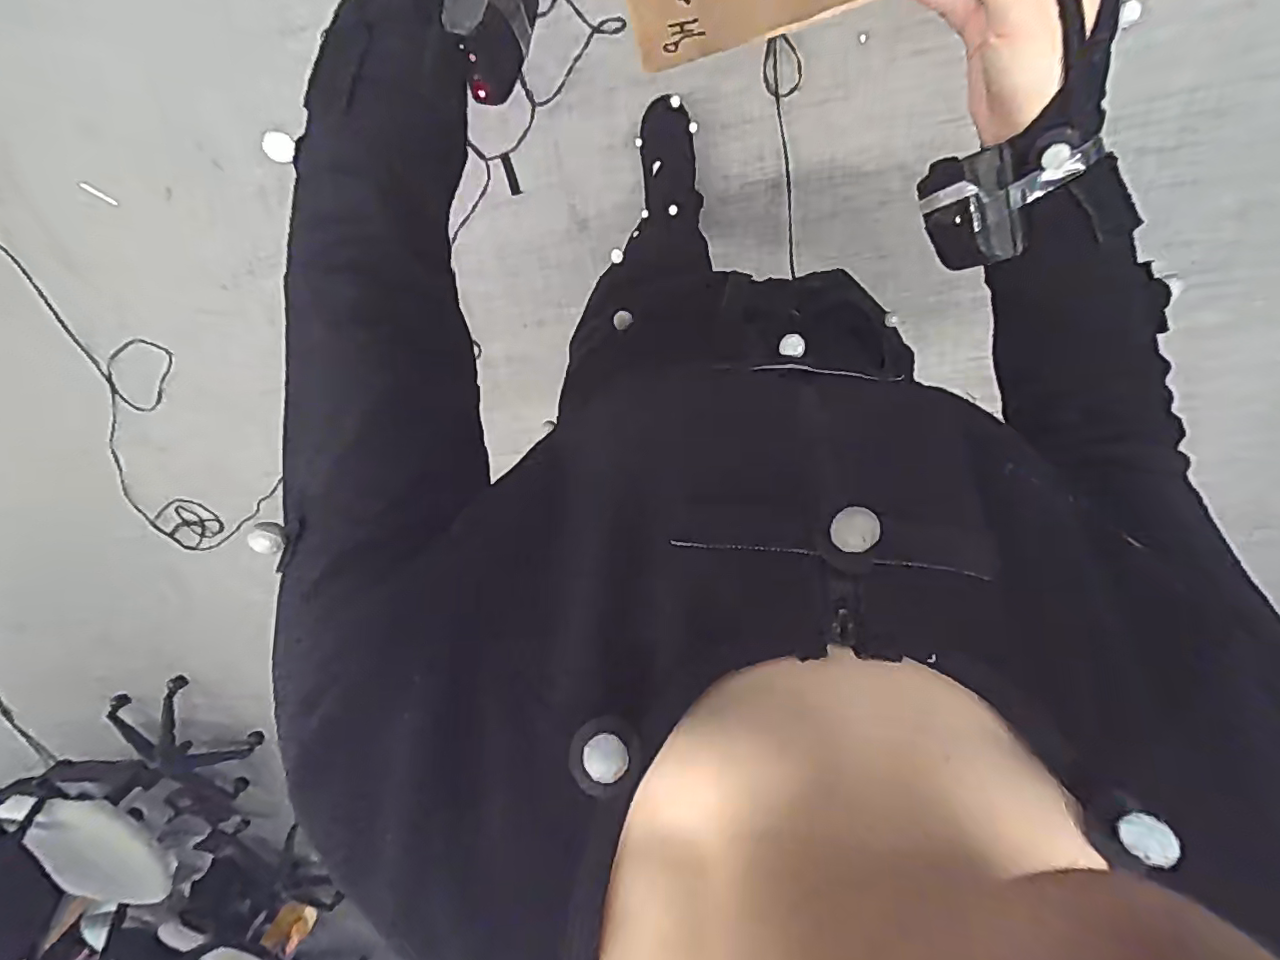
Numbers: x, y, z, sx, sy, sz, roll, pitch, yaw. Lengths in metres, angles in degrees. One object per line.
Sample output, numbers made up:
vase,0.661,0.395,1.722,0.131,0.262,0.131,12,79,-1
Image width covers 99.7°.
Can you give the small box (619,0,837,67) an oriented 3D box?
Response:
small box,0.051,-0.338,0.230,0.179,0.168,0.176,-14,97,8
